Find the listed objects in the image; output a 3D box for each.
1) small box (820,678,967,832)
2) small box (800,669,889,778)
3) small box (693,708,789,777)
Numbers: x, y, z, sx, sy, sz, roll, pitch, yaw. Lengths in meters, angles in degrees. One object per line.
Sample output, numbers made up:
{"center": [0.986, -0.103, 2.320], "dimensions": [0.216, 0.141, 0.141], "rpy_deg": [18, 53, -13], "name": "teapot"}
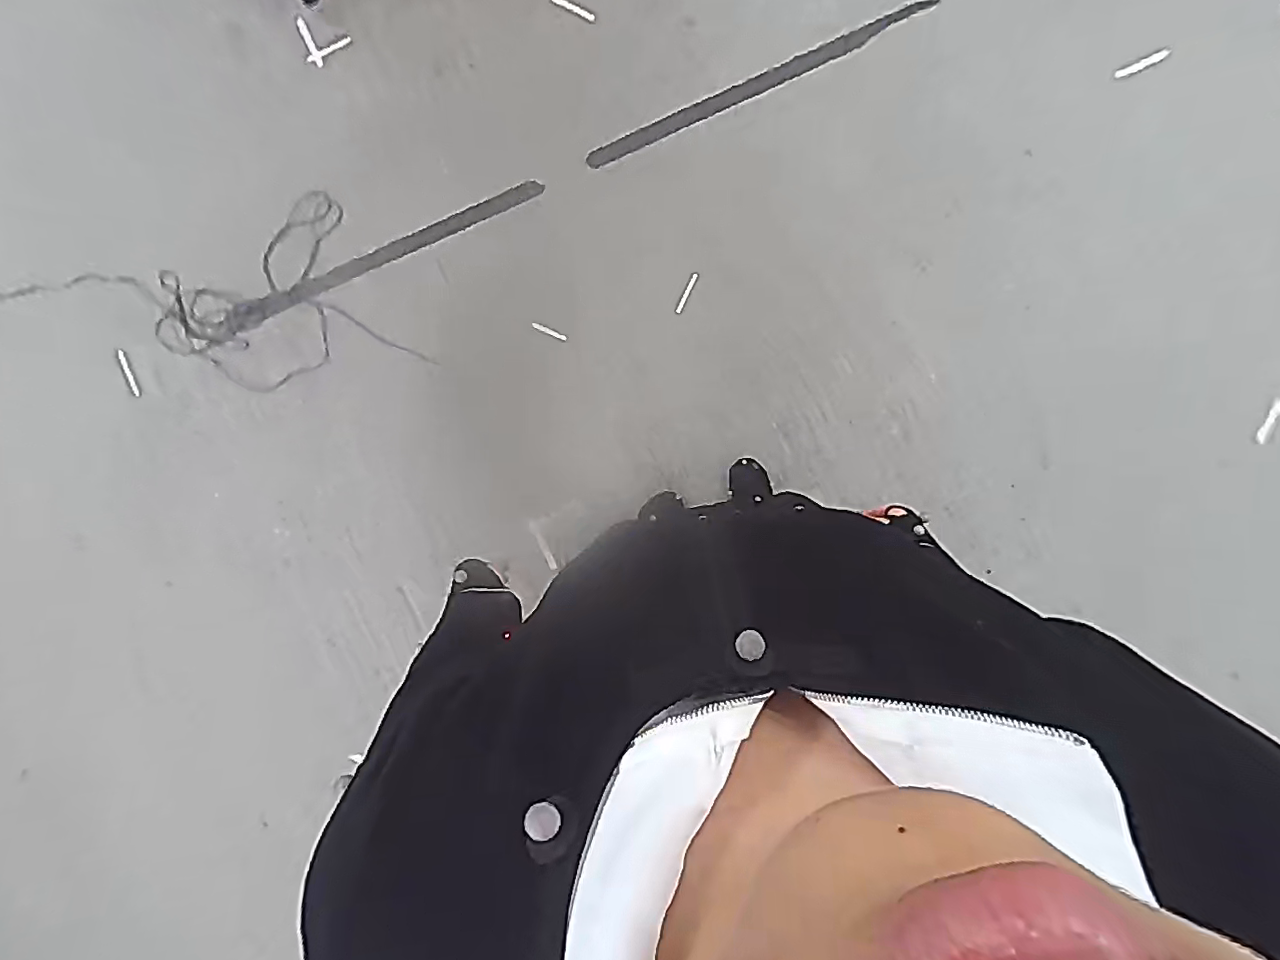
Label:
{"center": [0.477, 0.519, 1.045], "dimensions": [0.168, 0.176, 0.179], "rpy_deg": [-28, 89, 2], "name": "small box"}
{"center": [0.479, 0.514, 1.209], "dimensions": [0.168, 0.176, 0.179], "rpy_deg": [-26, 89, 2], "name": "small box"}
{"center": [0.227, 0.639, 1.220], "dimensions": [0.179, 0.176, 0.168], "rpy_deg": [-24, 89, 1], "name": "small box"}
